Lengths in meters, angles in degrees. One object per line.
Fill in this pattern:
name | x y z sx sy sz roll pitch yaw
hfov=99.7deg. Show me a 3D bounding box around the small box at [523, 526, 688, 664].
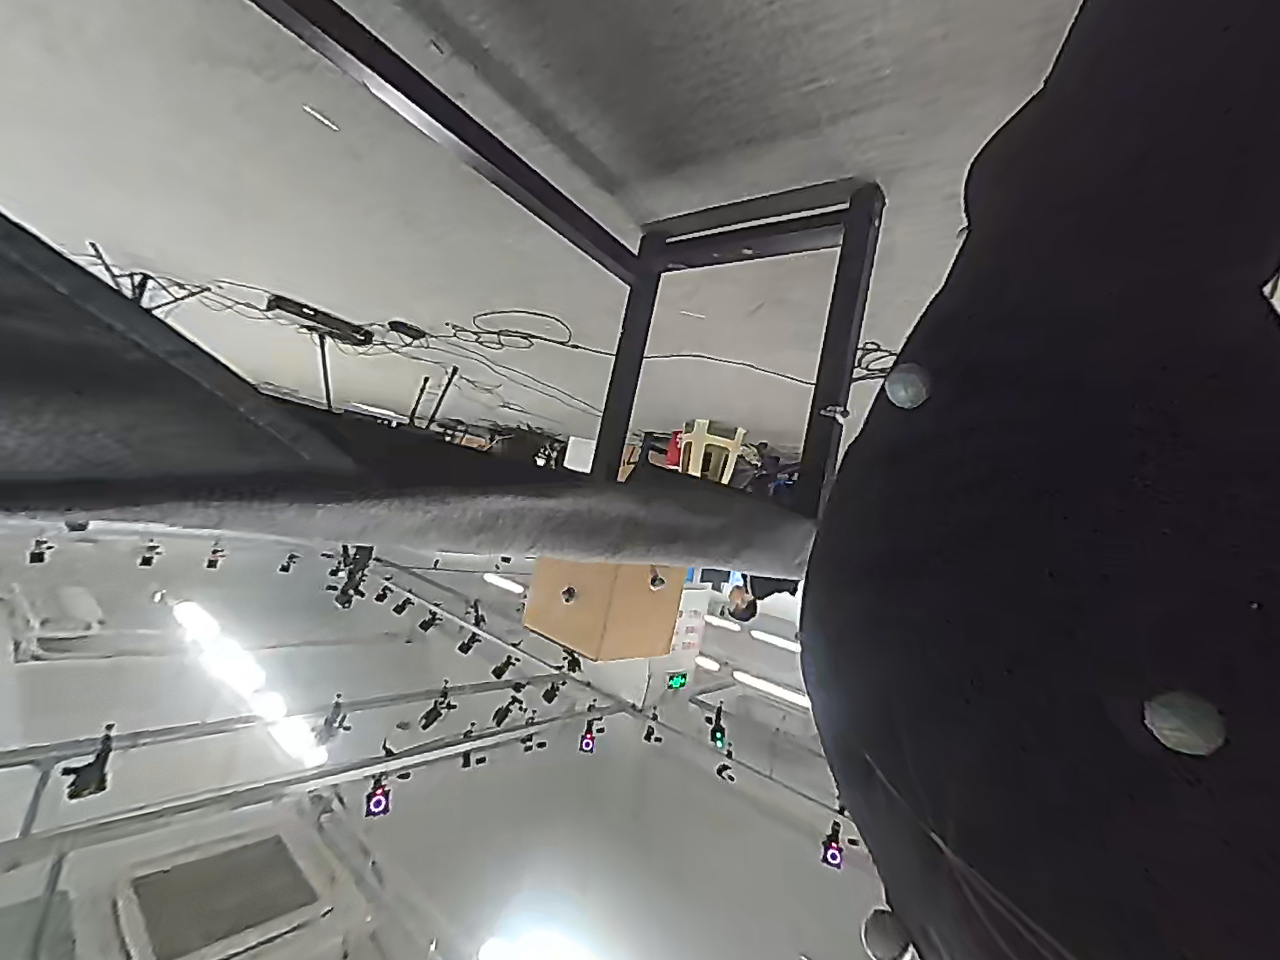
small box | -0.049 0.170 0.836 0.179 0.176 0.168 8 174 42
